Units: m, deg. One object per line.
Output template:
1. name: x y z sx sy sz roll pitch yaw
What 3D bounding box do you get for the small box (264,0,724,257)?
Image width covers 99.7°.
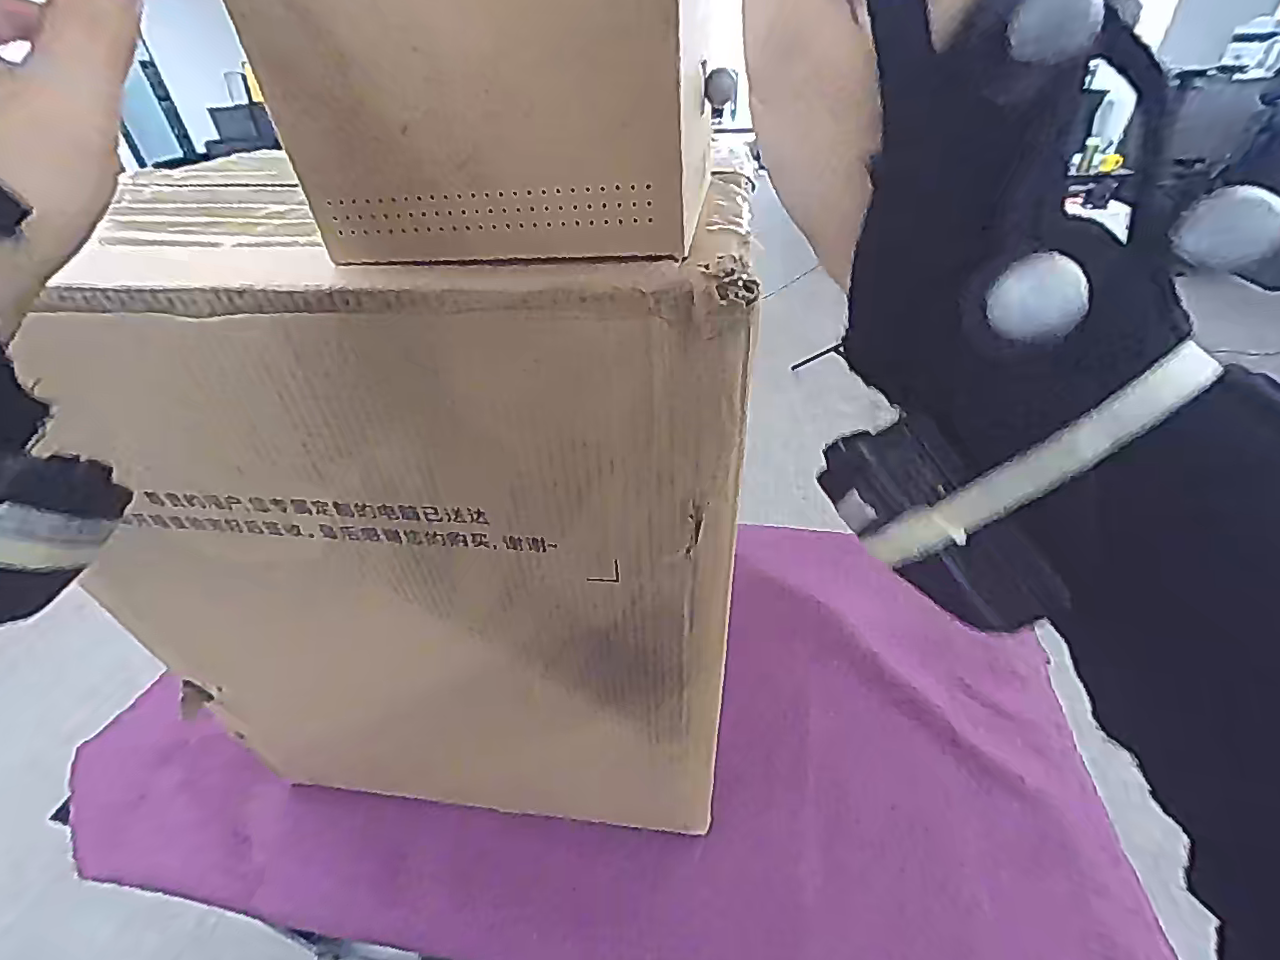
1. small box: -0.052 -0.214 0.258 0.179 0.176 0.168 3 39 9
